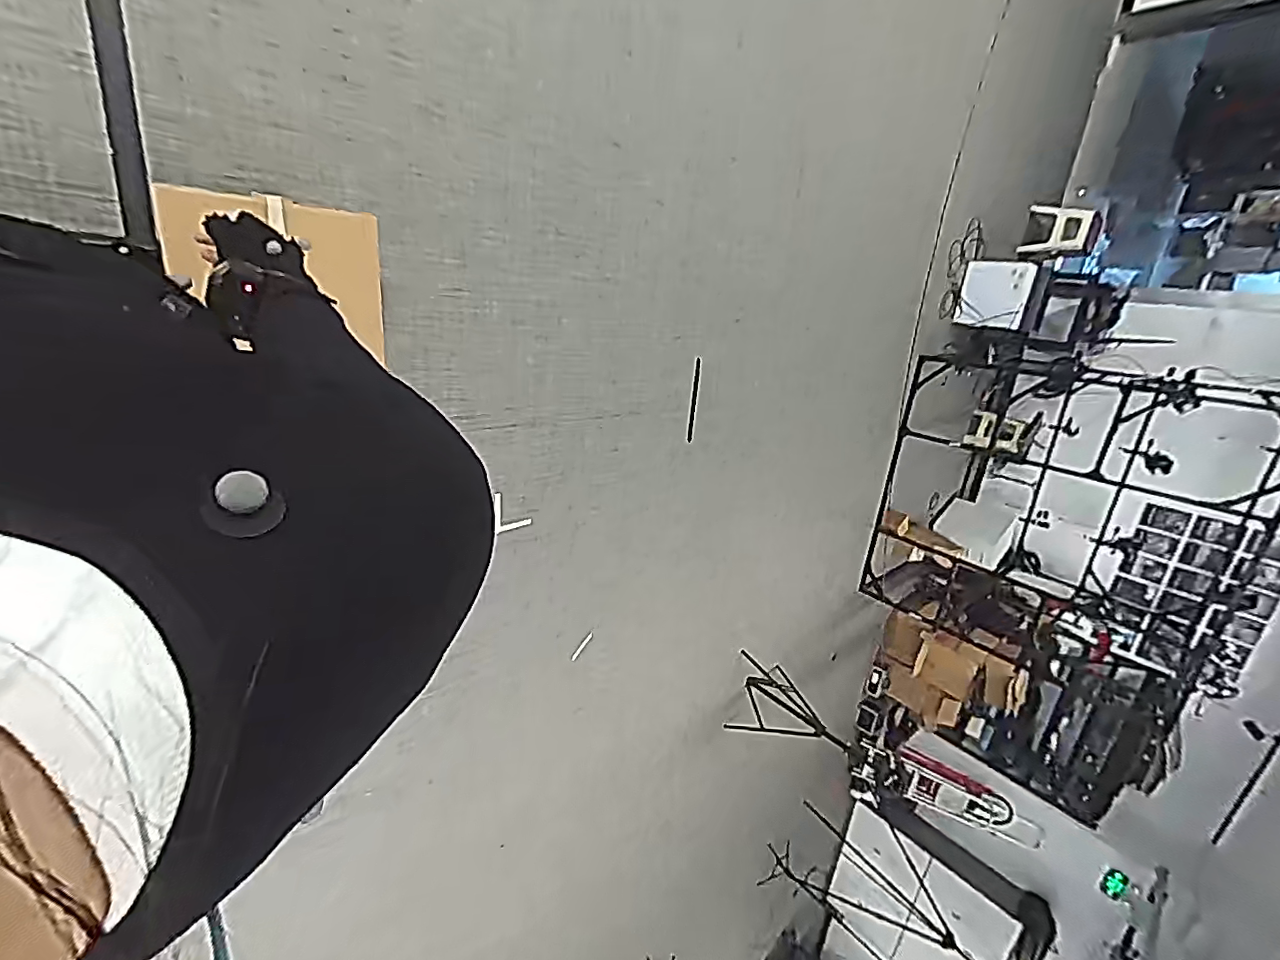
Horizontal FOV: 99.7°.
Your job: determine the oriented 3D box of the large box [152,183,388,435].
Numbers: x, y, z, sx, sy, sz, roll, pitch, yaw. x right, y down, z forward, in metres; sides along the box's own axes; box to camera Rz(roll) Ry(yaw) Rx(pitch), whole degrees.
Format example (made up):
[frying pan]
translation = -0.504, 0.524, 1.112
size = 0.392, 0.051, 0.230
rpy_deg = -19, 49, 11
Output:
[large box]
translation = -0.713, -0.334, 1.073
size = 0.320, 0.320, 0.408
rpy_deg = -8, 115, -35
